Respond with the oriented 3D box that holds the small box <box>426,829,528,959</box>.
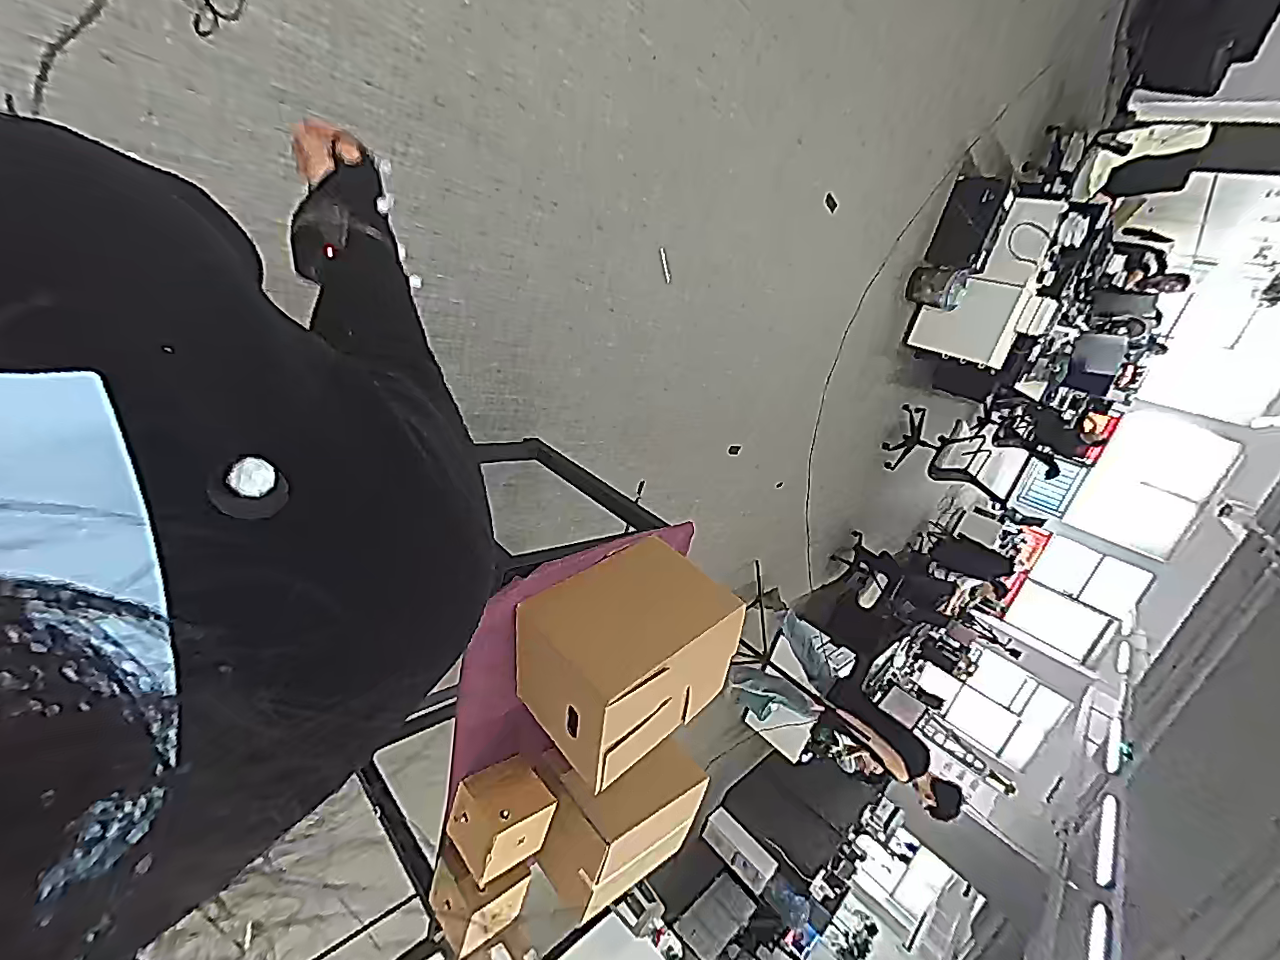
[{"bbox_3d":[-0.422,1.051,1.383,0.179,0.176,0.168,-2,117,-50],"label":"small box"}]
